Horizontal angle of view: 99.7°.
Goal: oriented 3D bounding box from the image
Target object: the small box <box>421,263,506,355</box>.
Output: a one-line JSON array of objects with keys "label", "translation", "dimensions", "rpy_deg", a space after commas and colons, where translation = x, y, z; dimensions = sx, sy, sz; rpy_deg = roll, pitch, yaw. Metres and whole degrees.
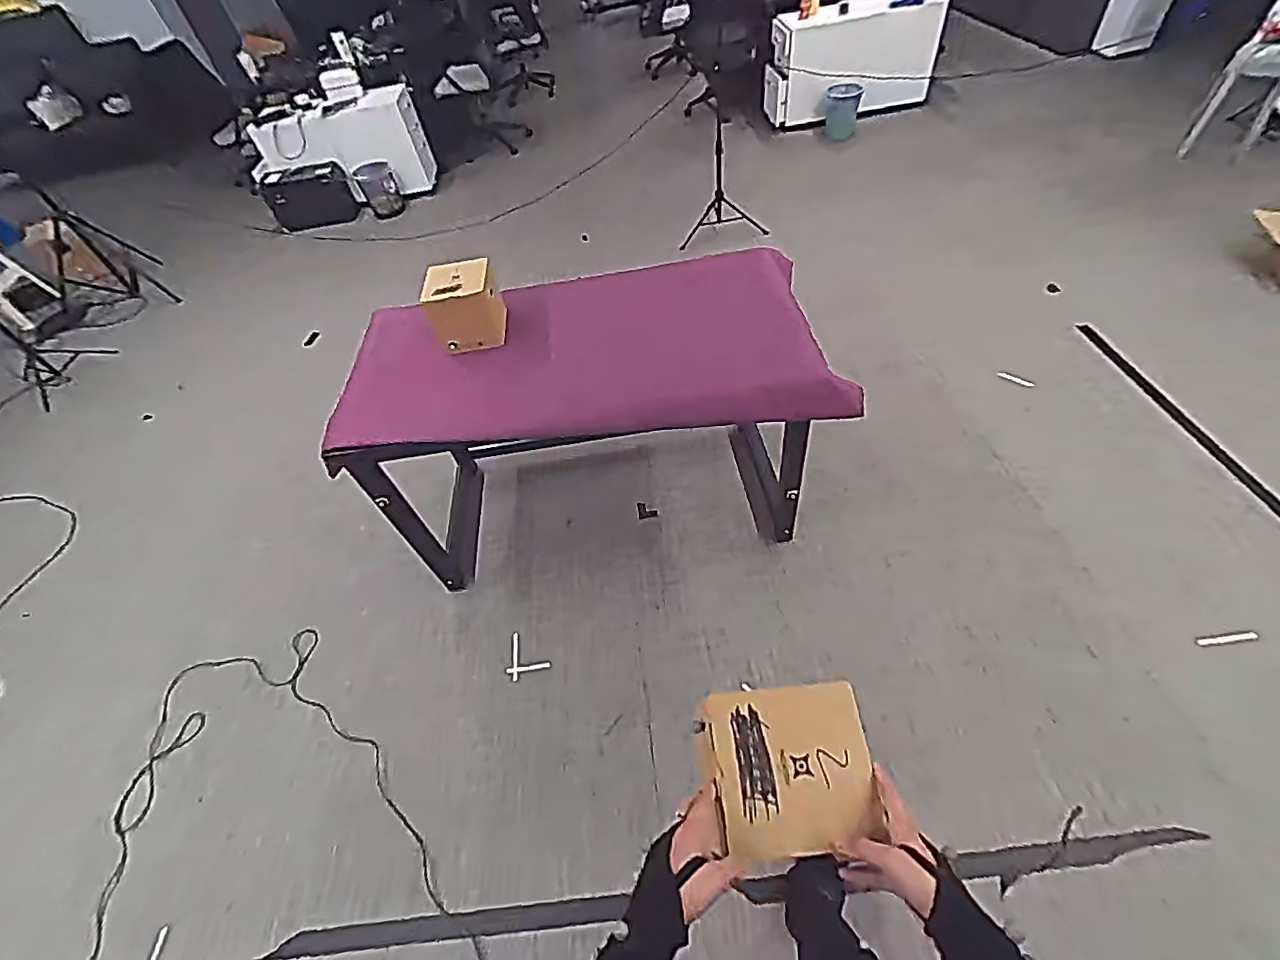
[{"label": "small box", "translation": [-0.473, -0.458, 1.475], "dimensions": [0.168, 0.176, 0.179], "rpy_deg": [-9, 50, 1]}]
